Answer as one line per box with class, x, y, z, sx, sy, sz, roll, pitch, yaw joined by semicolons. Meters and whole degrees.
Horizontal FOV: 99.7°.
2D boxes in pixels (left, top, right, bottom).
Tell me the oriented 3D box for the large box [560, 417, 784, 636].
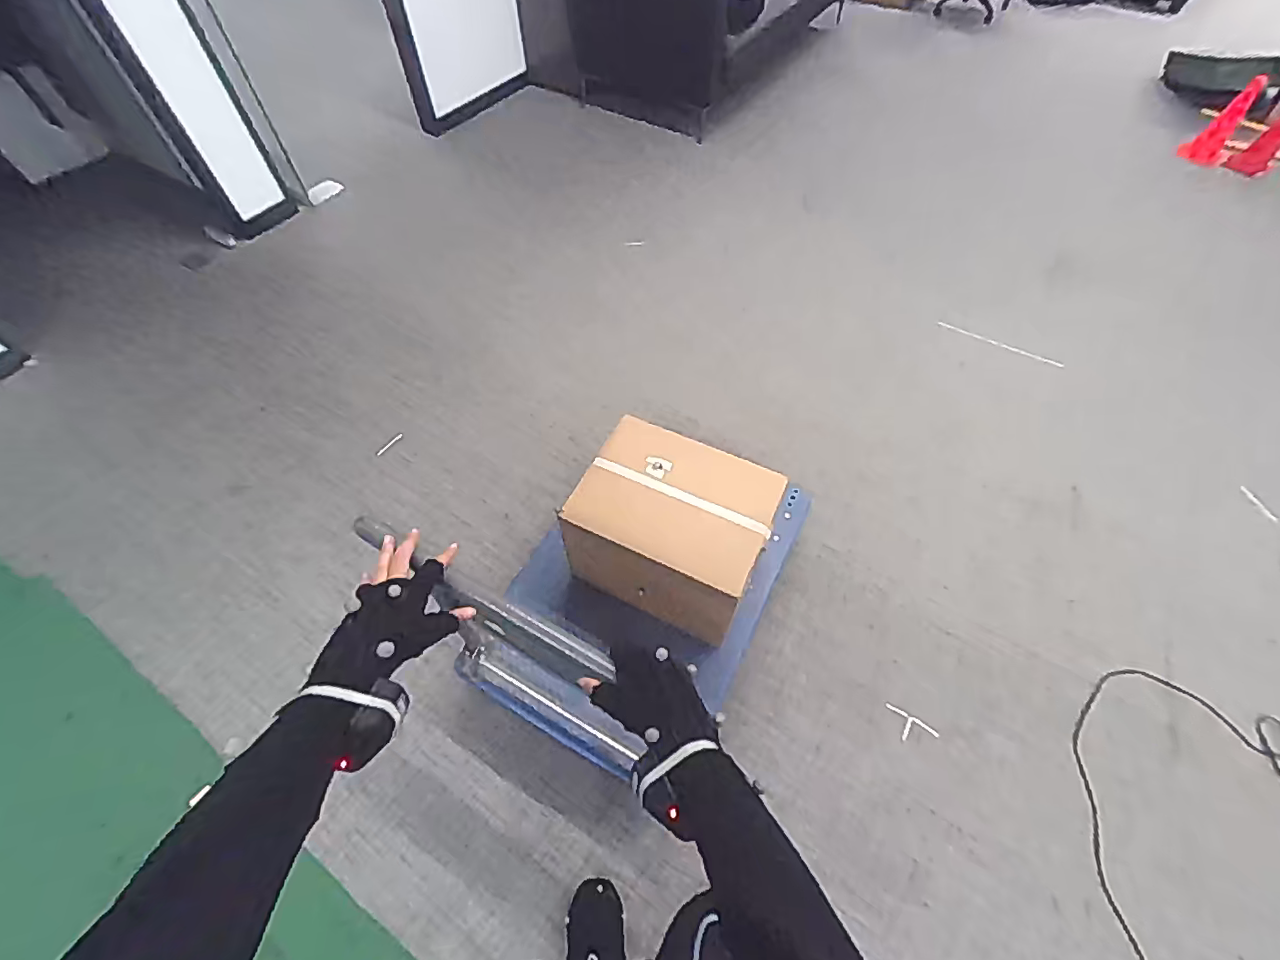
large box;0.078;0.115;1.282;0.408;0.320;0.320;22;59;15
